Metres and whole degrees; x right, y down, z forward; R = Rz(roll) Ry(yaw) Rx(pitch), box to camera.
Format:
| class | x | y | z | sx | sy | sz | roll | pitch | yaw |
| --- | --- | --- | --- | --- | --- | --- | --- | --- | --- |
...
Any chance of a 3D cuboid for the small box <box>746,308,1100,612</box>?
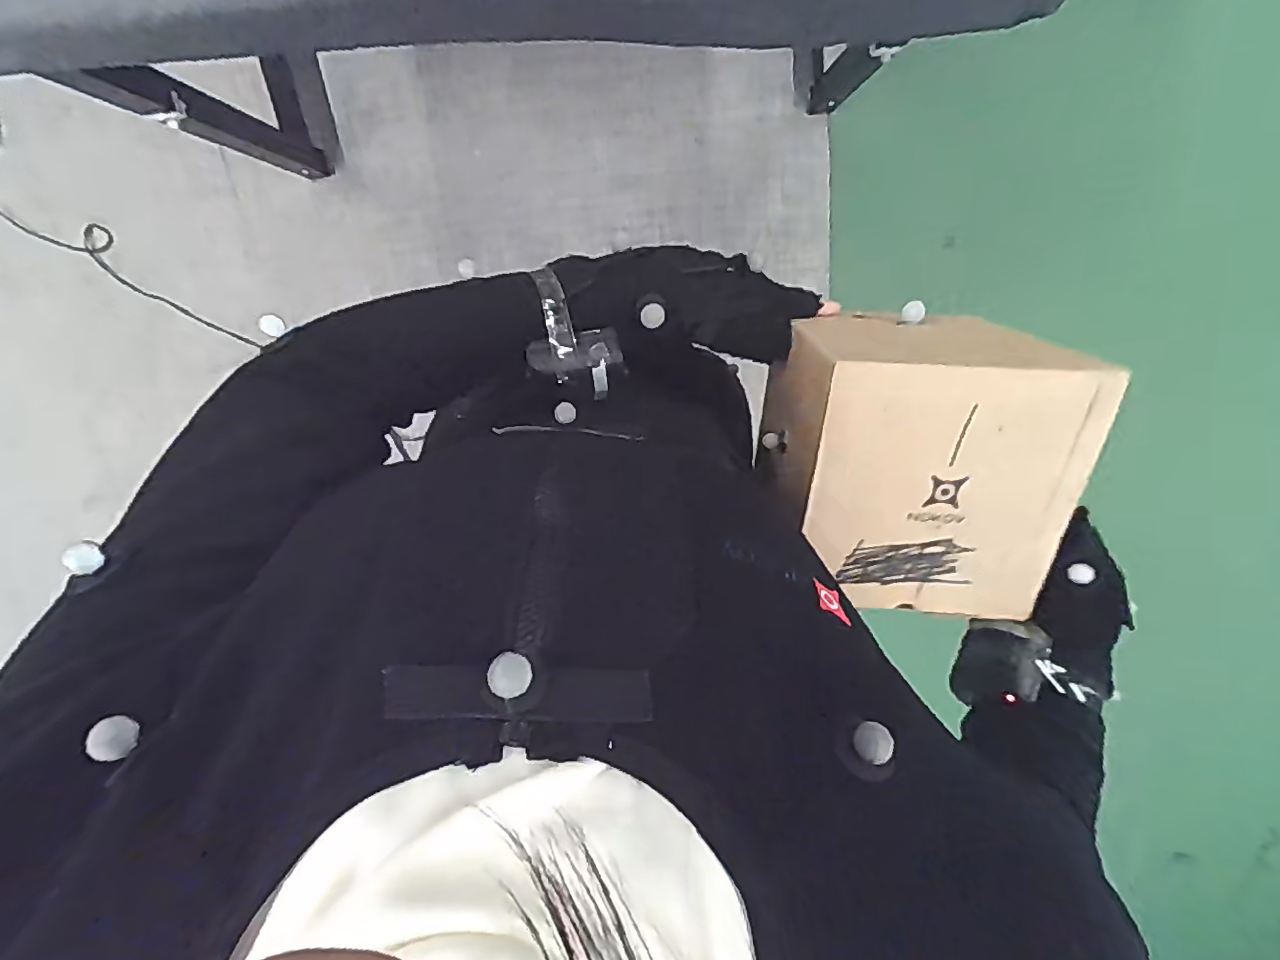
| class | x | y | z | sx | sy | sz | roll | pitch | yaw |
| --- | --- | --- | --- | --- | --- | --- | --- | --- | --- |
| small box | 0.182 | -0.025 | 0.420 | 0.168 | 0.176 | 0.179 | 4 | 116 | 0 |
